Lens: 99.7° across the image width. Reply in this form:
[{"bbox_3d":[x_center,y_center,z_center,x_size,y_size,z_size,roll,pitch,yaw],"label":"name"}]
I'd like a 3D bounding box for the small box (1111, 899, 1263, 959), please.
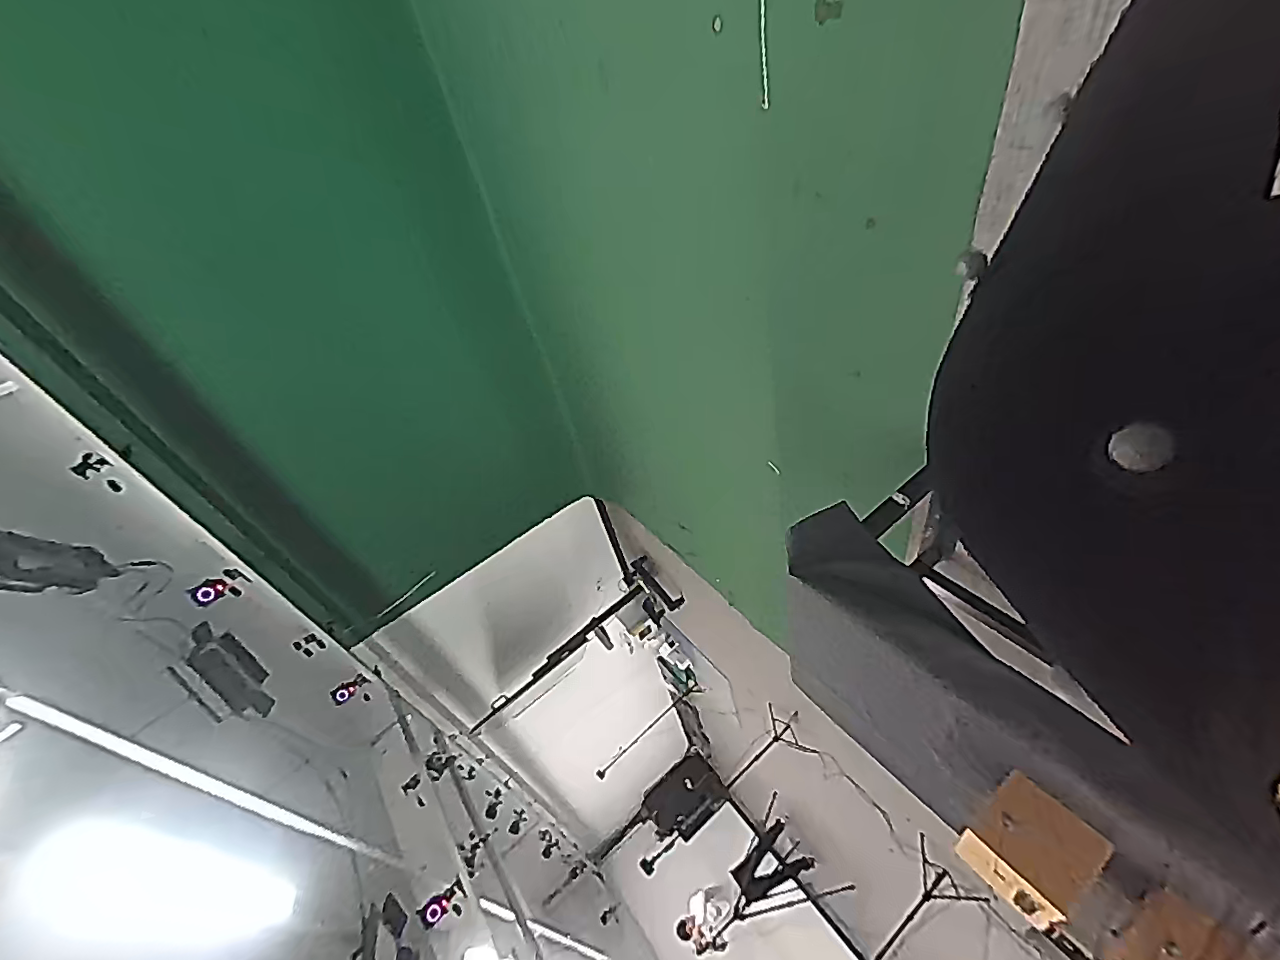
[{"bbox_3d":[0.906,0.830,0.880,0.179,0.176,0.168,34,153,45],"label":"small box"}]
